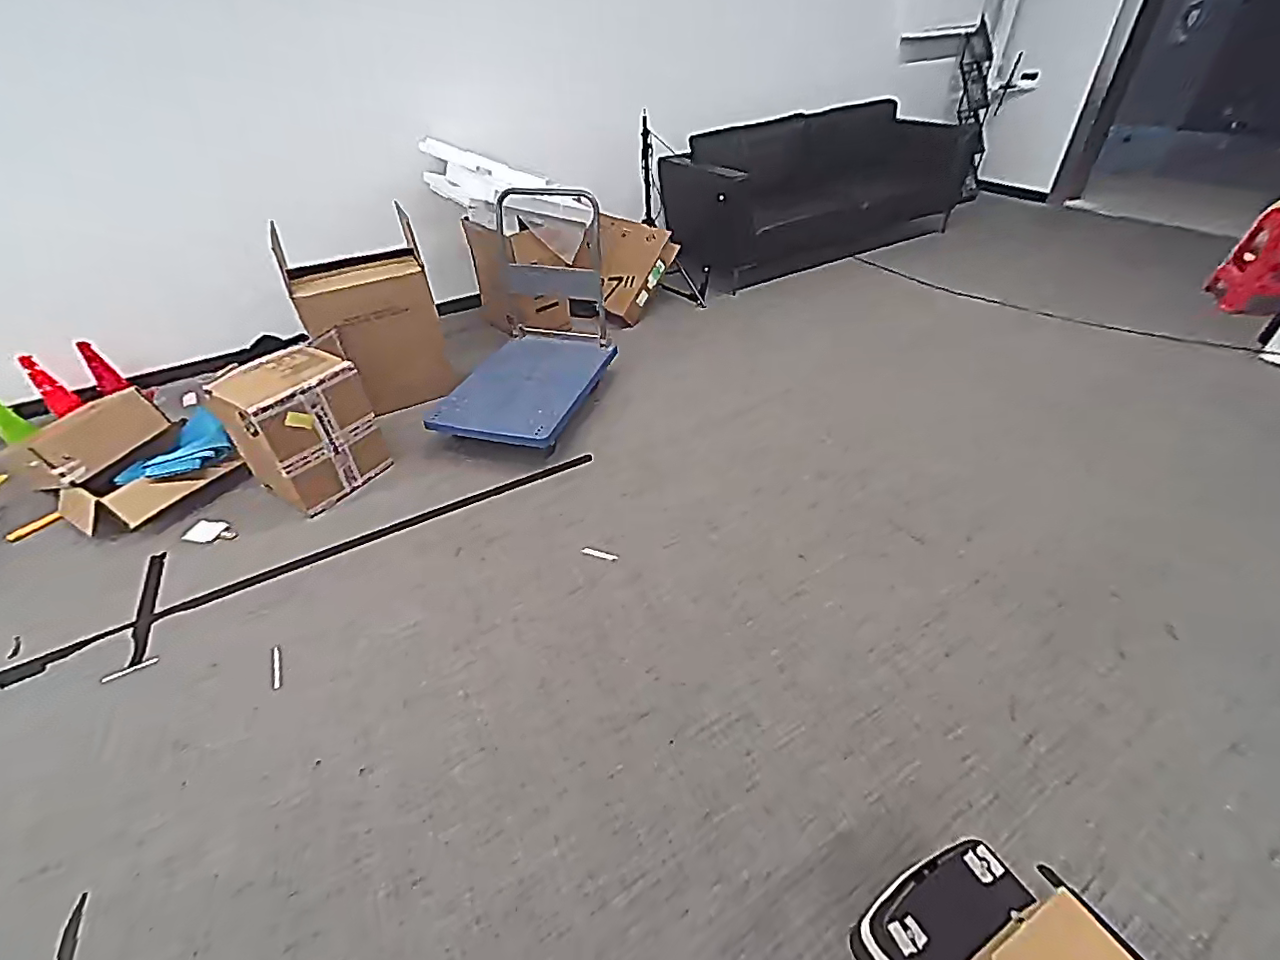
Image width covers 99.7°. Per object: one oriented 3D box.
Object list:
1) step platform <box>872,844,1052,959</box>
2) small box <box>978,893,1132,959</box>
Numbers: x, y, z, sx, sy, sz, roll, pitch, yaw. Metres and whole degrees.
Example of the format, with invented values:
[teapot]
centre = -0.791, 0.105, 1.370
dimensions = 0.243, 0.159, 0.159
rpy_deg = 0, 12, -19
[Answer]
[step platform]
centre = 0.707, 0.960, 0.814
dimensions = 0.286, 0.204, 0.684
rpy_deg = -21, 42, -20
[small box]
centre = 0.617, 0.760, 0.790
dimensions = 0.179, 0.176, 0.168
rpy_deg = -21, 42, -19
